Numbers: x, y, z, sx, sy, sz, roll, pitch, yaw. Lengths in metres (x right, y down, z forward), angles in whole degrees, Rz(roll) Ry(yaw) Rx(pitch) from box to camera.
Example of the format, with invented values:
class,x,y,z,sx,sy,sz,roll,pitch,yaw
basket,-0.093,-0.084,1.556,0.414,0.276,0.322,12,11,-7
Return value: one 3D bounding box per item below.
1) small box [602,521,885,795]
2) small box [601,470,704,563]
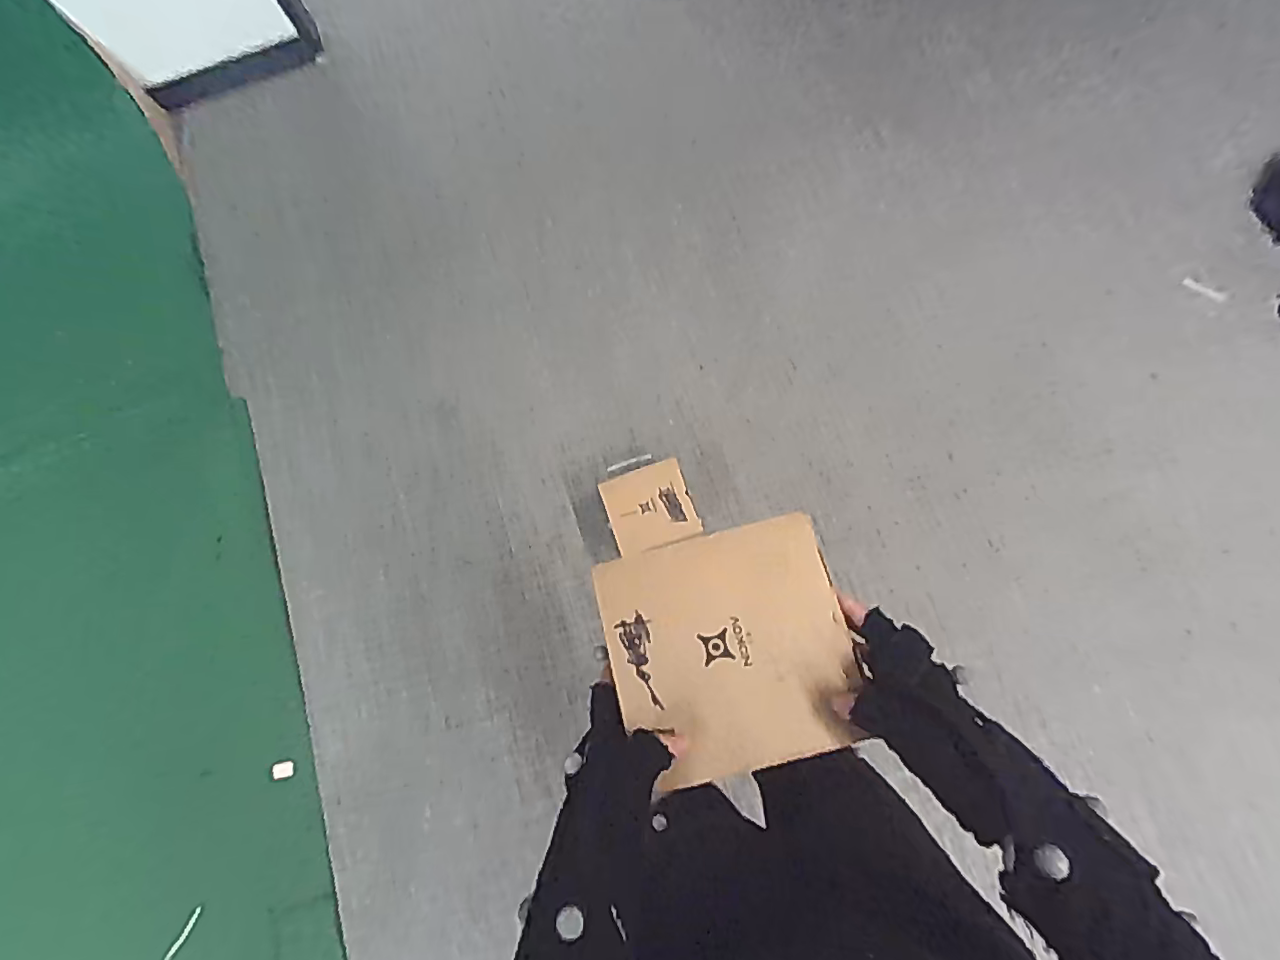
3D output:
class,x,y,z,sx,sy,sz,roll,pitch,yaw
small box,0.076,0.149,0.475,0.179,0.176,0.168,-14,71,0
small box,0.029,0.094,1.185,0.179,0.176,0.168,-20,78,1
